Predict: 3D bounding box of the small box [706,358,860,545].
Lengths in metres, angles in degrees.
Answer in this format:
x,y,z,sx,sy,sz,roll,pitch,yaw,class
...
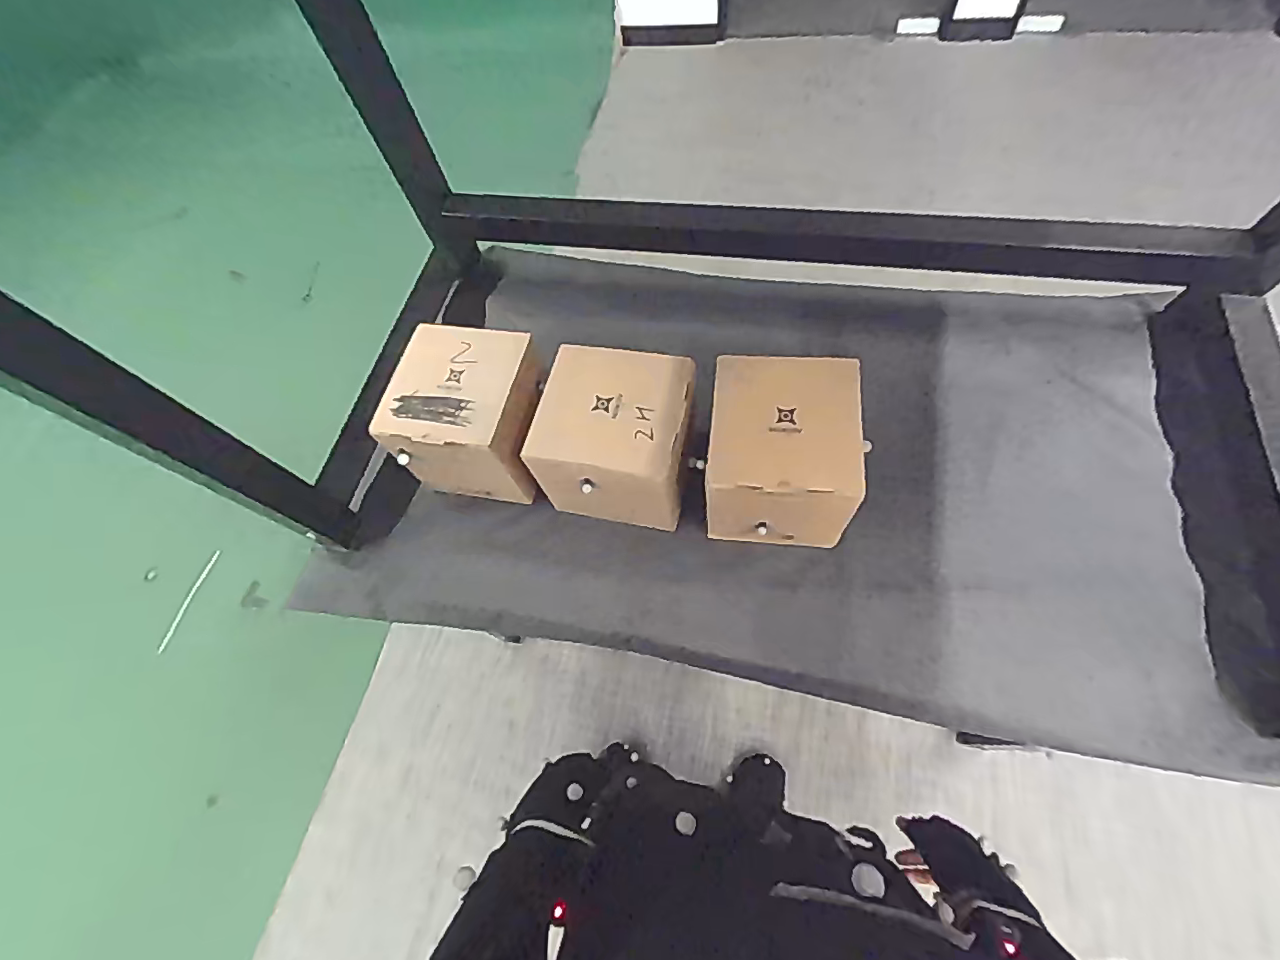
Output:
x,y,z,sx,sy,sz,roll,pitch,yaw,class
0.172,-0.032,0.689,0.168,0.176,0.179,3,65,9,small box
